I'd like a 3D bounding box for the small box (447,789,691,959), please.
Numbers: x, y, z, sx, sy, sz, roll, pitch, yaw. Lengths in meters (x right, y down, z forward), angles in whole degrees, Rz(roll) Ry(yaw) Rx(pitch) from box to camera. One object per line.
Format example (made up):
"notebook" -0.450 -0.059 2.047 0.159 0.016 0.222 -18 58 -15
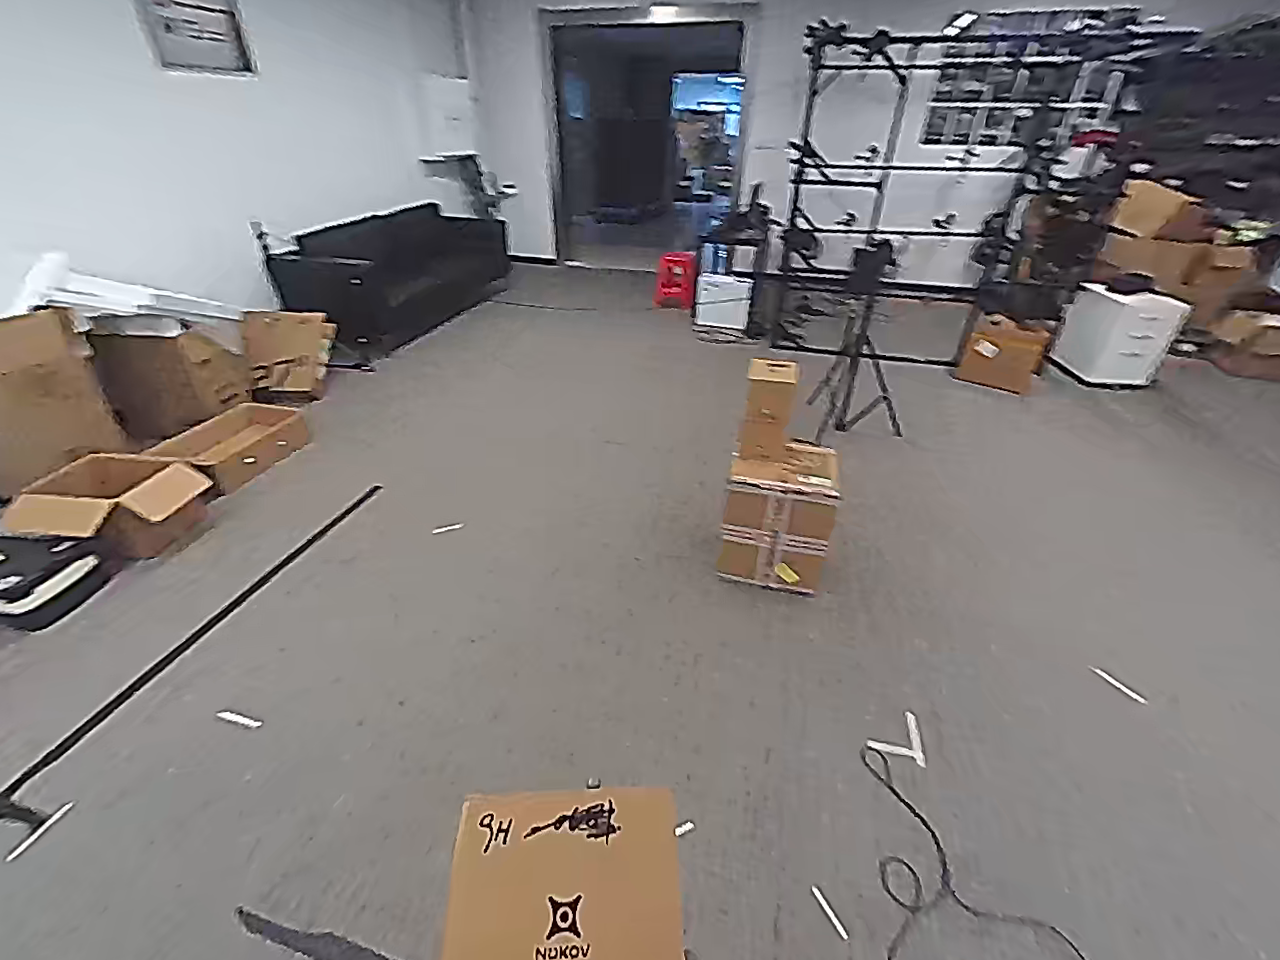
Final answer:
"small box" -0.044 0.361 0.422 0.168 0.176 0.179 -2 48 -1

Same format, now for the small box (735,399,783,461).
"small box" 0.457 -0.192 2.073 0.168 0.176 0.179 5 36 10

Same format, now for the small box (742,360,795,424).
"small box" 0.466 -0.323 1.973 0.168 0.176 0.179 7 37 13
